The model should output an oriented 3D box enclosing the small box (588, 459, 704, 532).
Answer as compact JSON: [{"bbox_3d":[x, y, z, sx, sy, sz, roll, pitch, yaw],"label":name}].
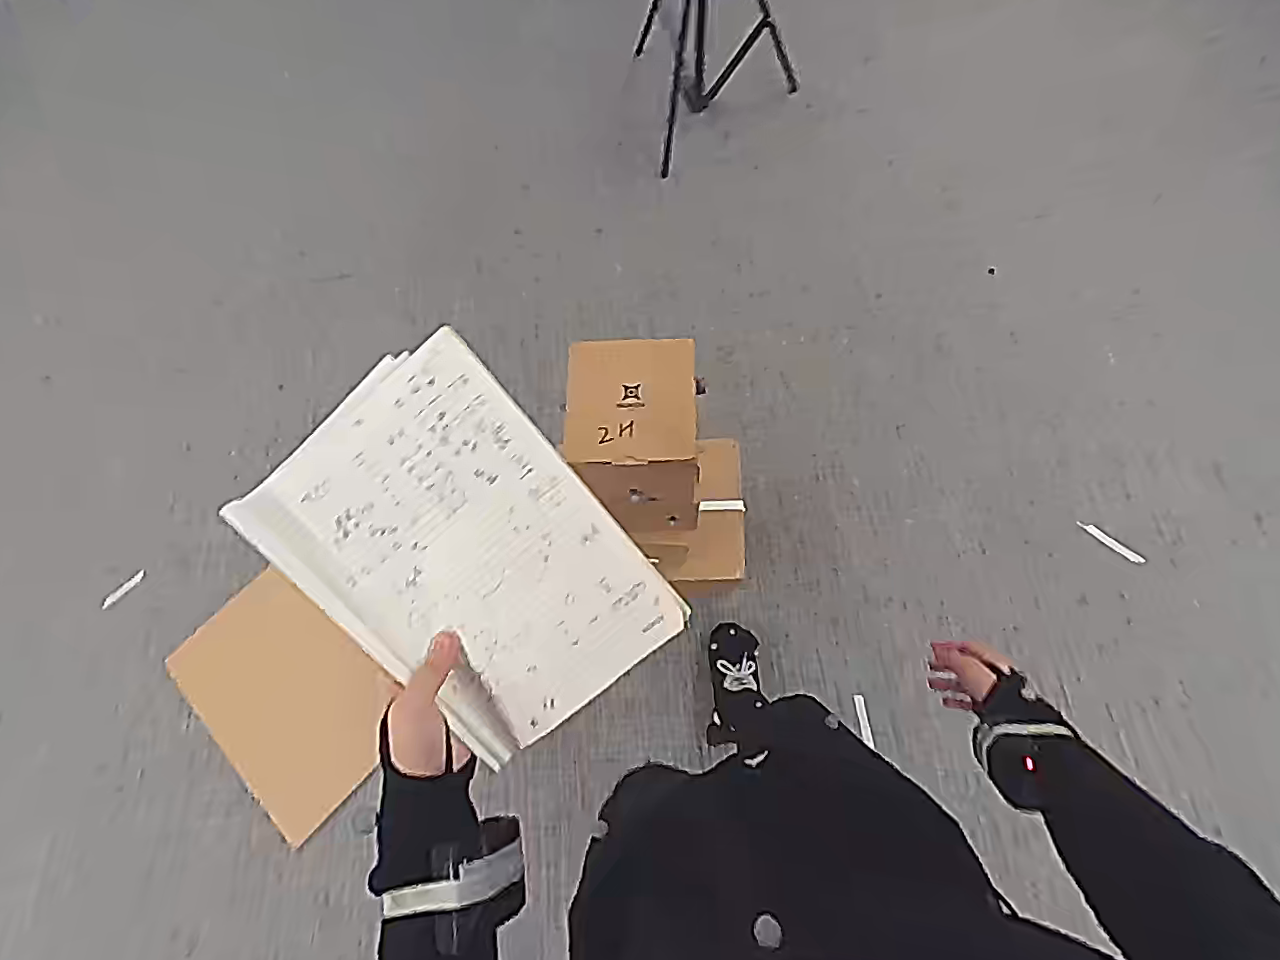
[{"bbox_3d":[0.013,-0.012,0.904,0.179,0.176,0.168,-3,70,4],"label":"small box"}]

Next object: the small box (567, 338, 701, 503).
[{"bbox_3d":[-0.001,-0.077,0.753,0.168,0.176,0.179,-1,71,4],"label":"small box"}]
